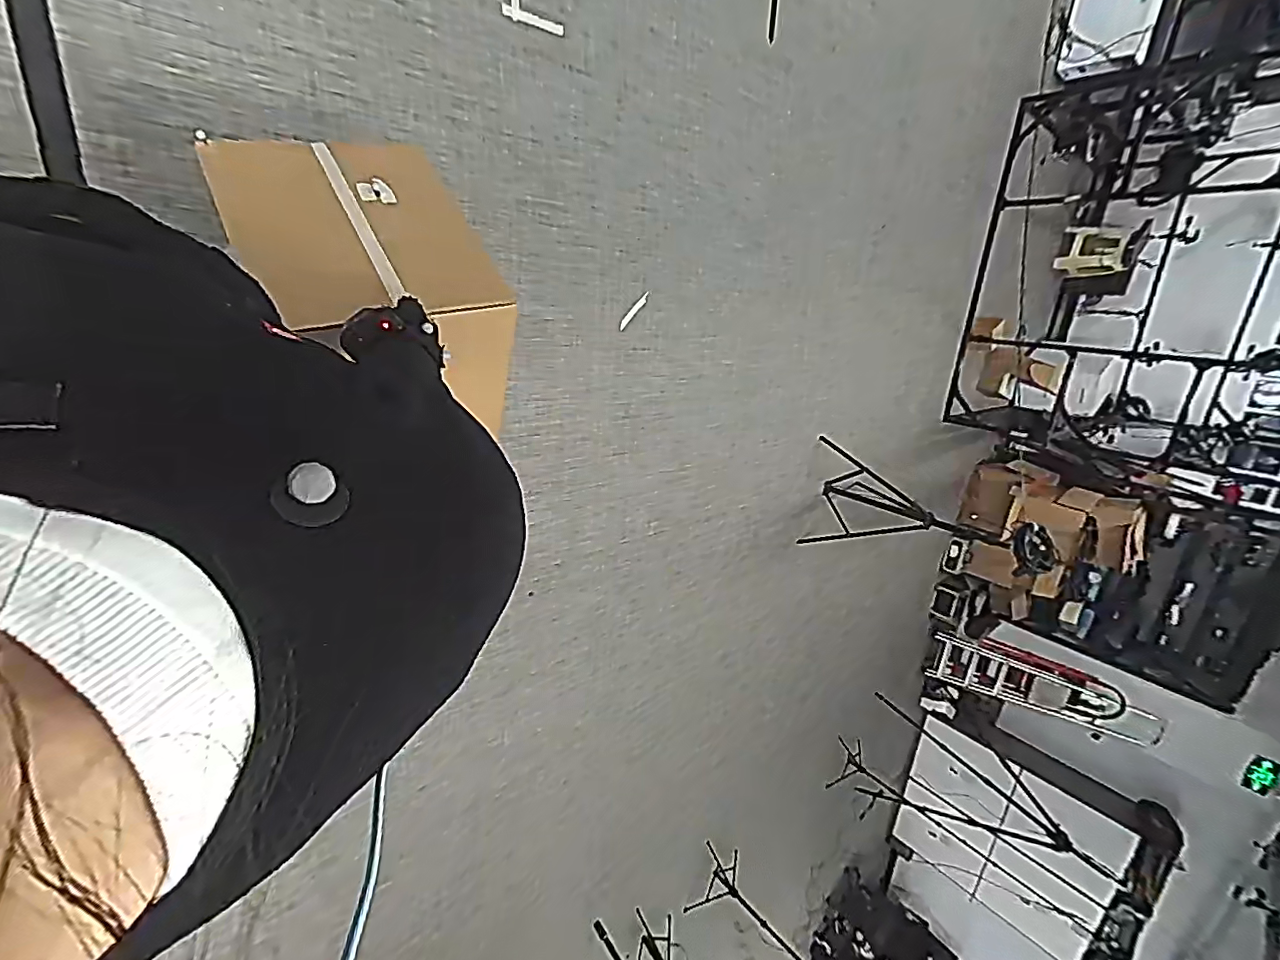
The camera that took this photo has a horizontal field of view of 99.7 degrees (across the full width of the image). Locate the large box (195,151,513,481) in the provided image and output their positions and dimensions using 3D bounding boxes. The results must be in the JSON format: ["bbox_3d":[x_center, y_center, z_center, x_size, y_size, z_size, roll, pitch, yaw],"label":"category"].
[{"bbox_3d":[-0.449,-0.272,0.890,0.320,0.408,0.320,-20,154,-32],"label":"large box"}]
